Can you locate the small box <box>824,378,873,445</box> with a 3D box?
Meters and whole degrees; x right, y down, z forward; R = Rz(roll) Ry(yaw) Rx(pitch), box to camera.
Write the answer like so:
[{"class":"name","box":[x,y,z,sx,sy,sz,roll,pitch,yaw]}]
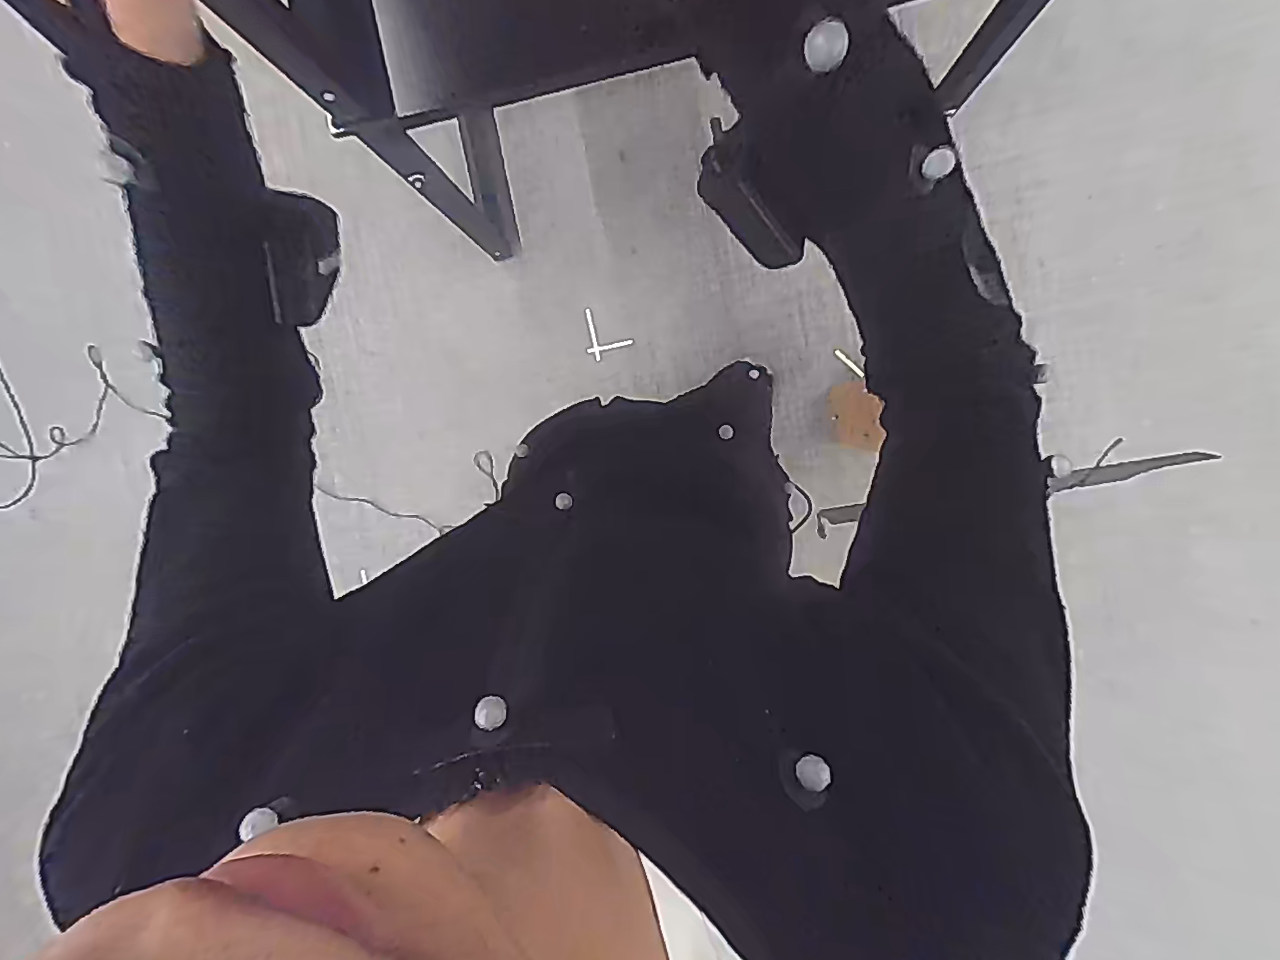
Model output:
[{"class":"small box","box":[0.619,-0.193,1.464,0.179,0.176,0.168,-11,95,6]}]
